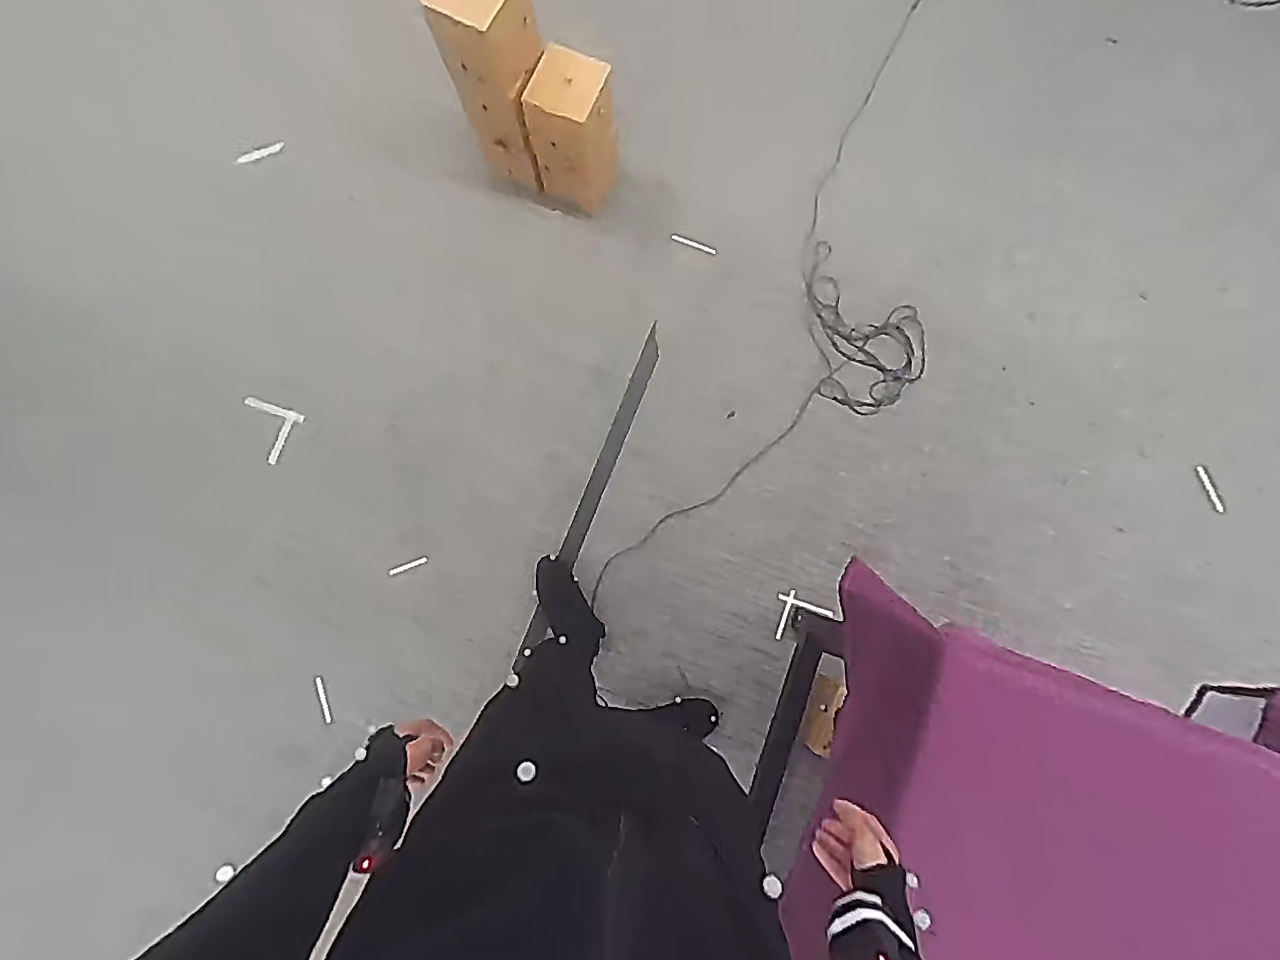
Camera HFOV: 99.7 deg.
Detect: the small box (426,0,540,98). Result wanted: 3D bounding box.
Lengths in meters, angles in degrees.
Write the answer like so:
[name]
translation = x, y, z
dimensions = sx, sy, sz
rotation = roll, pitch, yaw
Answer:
[small box]
translation = -0.339, -1.020, 1.211
dimensions = 0.168, 0.176, 0.179
rotation = 29, 82, 5
